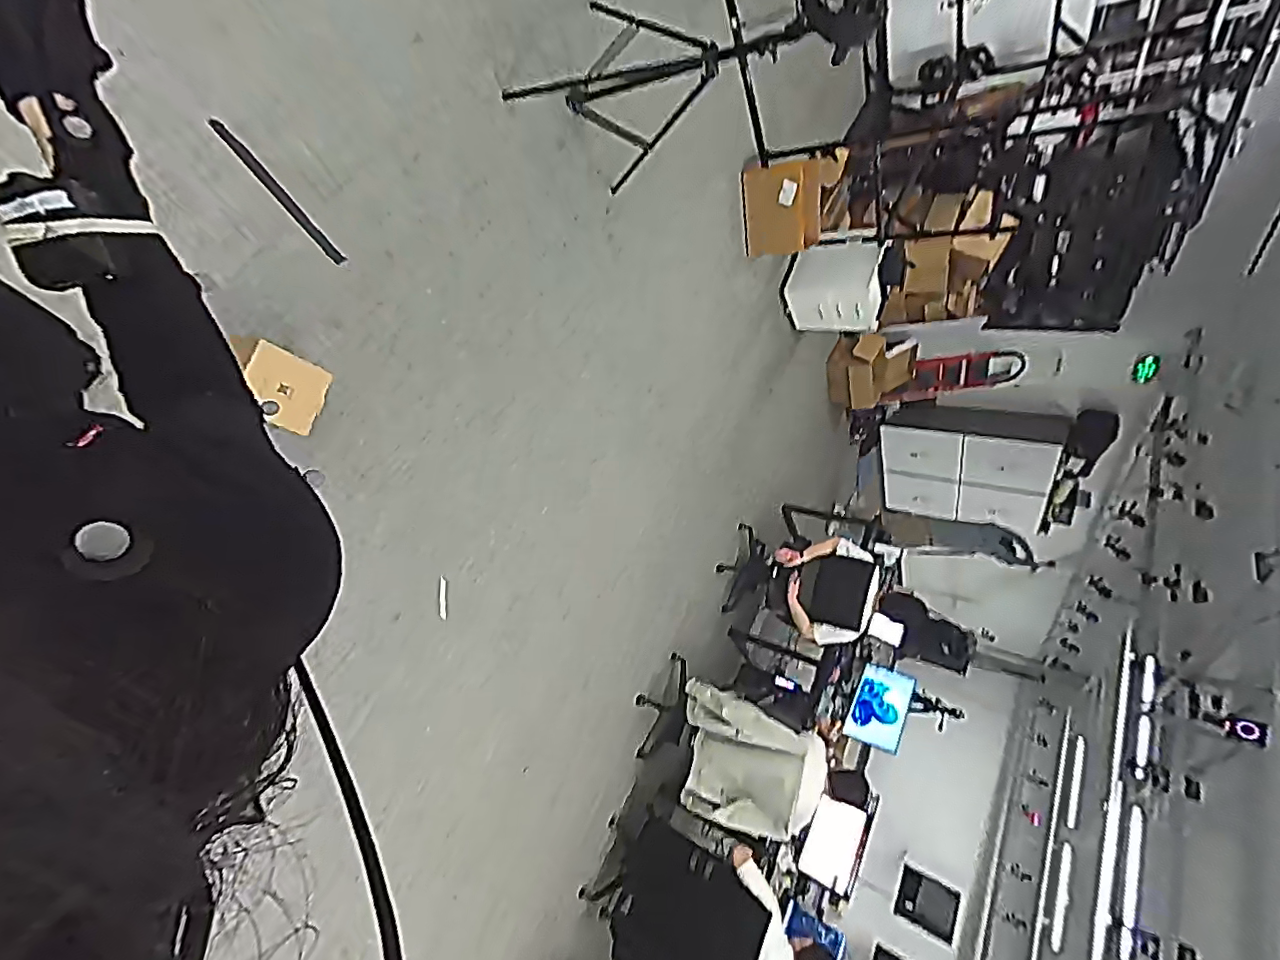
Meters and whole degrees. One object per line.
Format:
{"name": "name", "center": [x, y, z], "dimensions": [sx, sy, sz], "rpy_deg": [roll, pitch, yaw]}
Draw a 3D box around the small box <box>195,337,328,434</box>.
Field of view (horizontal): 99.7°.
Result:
{"name": "small box", "center": [-0.886, -0.224, 1.267], "dimensions": [0.179, 0.176, 0.168], "rpy_deg": [33, 72, -54]}
